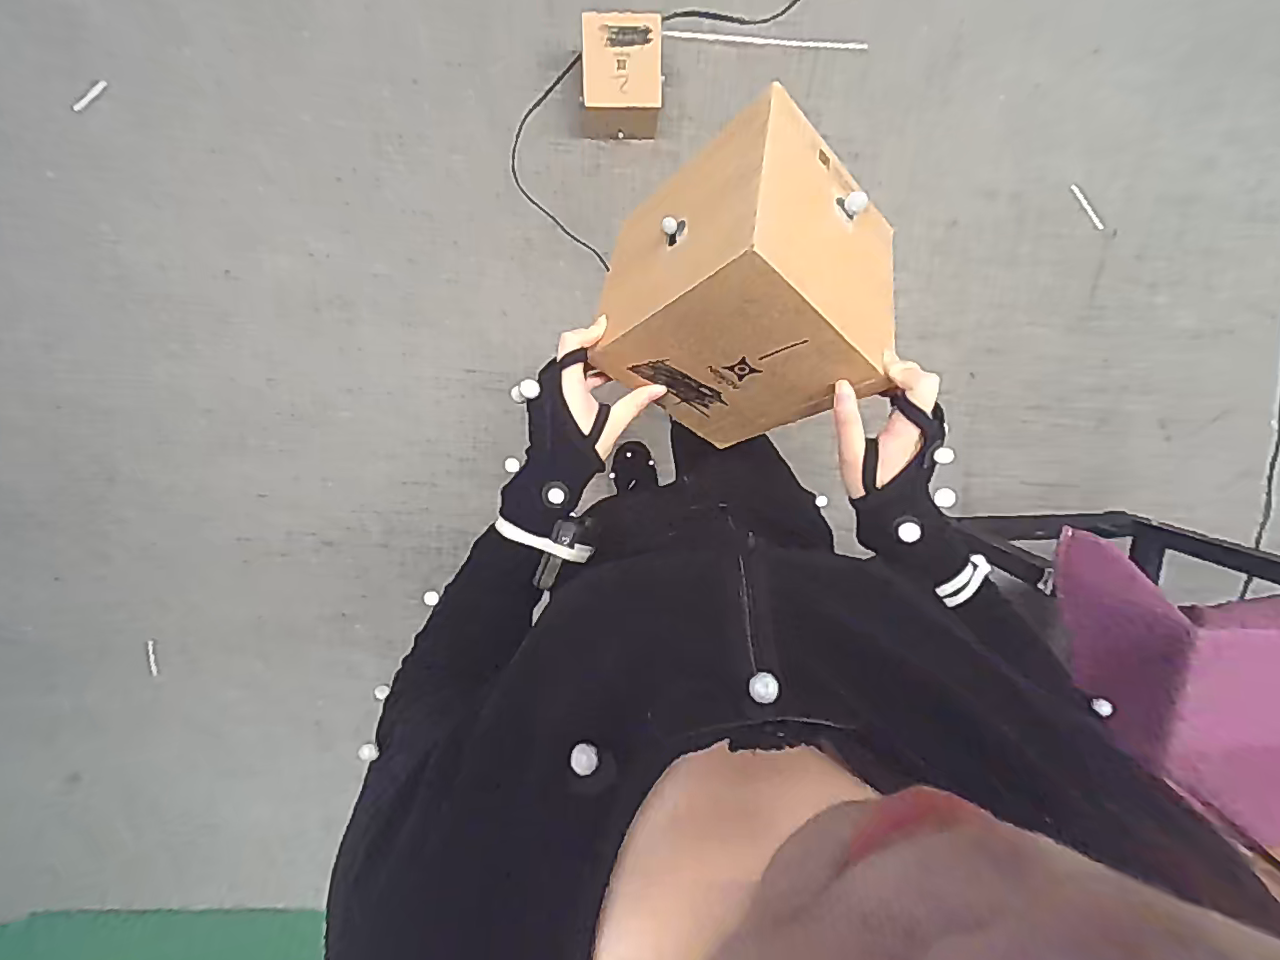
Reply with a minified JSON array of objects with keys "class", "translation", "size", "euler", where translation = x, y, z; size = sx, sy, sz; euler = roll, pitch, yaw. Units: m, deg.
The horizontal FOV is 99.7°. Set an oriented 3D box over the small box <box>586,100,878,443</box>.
[{"class":"small box","translation":[0.083,-0.160,0.462],"size":[0.168,0.179,0.176],"euler":[28,60,-31]}]
